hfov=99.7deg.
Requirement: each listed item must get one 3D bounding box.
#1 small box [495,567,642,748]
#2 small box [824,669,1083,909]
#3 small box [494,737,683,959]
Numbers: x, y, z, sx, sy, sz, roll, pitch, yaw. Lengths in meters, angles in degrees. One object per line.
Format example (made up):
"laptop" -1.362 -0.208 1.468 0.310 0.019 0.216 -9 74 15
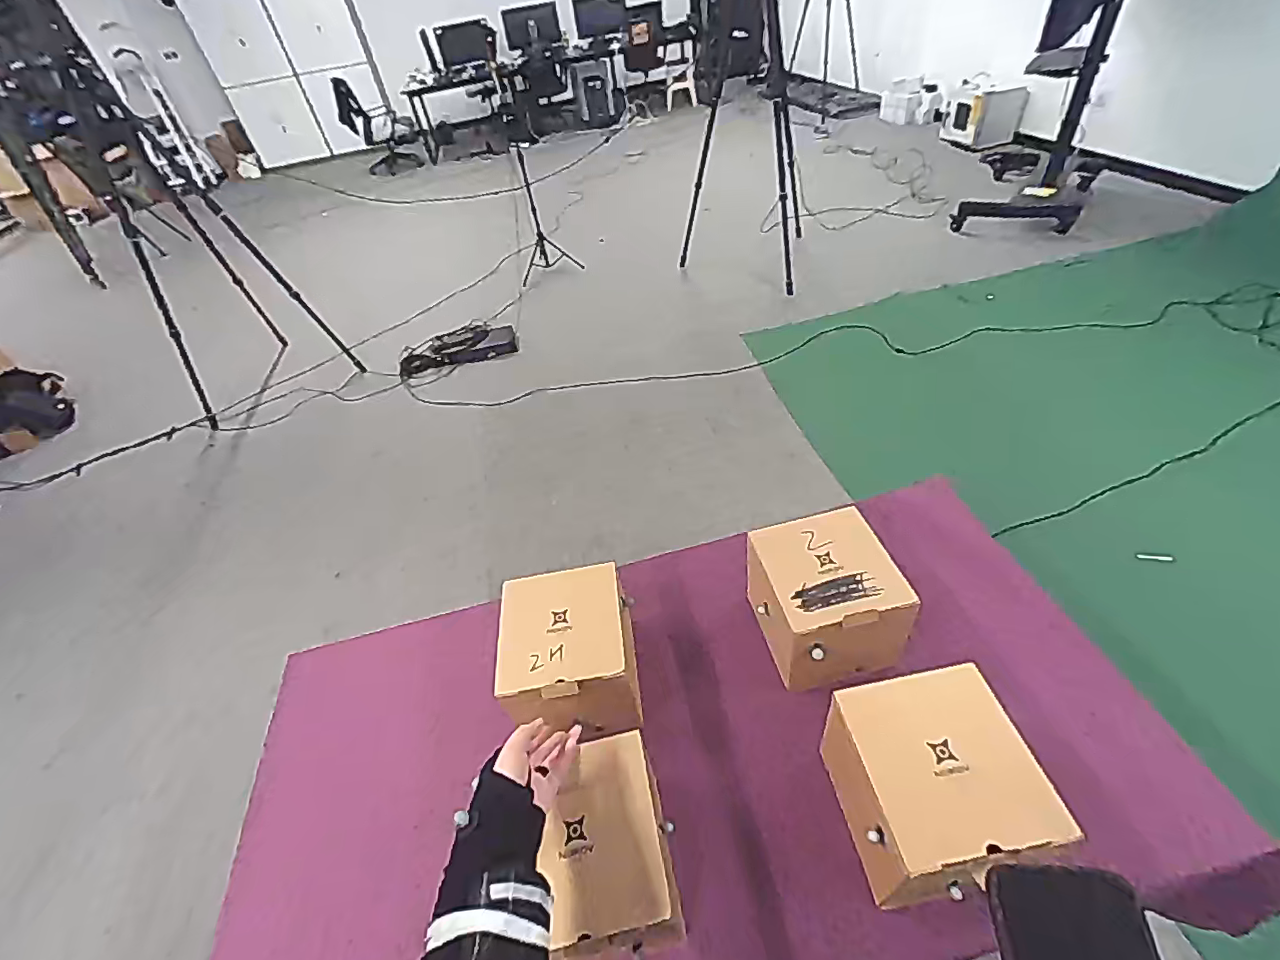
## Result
"small box" -0.094 0.254 0.774 0.168 0.176 0.179 -10 44 1
"small box" 0.318 0.341 0.600 0.168 0.176 0.179 -11 44 0
"small box" -0.053 0.419 0.596 0.168 0.176 0.179 -12 42 -2
